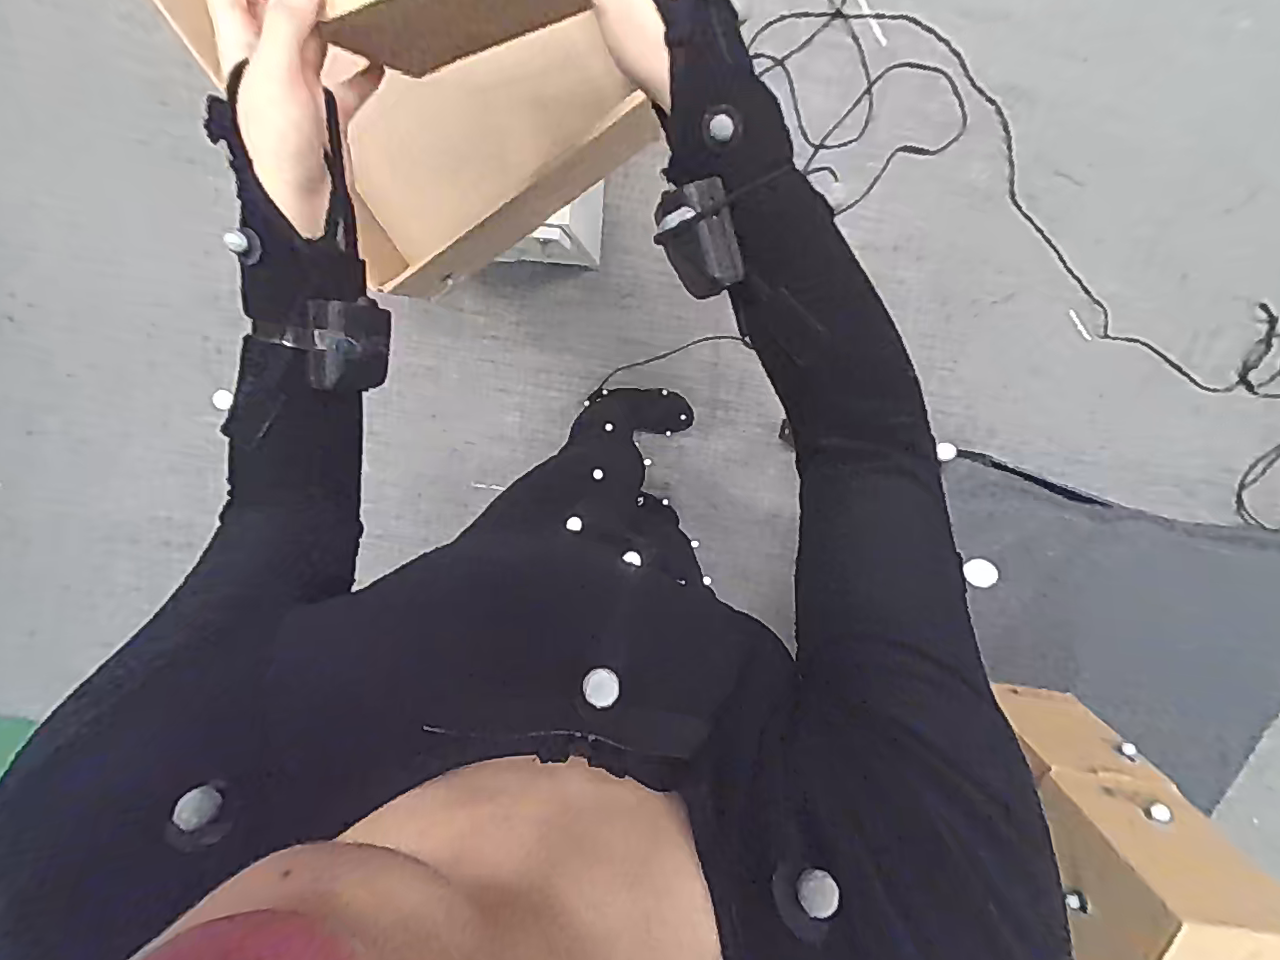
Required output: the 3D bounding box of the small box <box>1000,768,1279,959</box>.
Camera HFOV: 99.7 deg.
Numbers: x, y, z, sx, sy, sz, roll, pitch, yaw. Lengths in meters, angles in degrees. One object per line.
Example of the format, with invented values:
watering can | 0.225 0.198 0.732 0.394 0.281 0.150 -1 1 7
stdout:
small box | 0.531 0.451 0.576 0.168 0.176 0.179 10 106 -3
